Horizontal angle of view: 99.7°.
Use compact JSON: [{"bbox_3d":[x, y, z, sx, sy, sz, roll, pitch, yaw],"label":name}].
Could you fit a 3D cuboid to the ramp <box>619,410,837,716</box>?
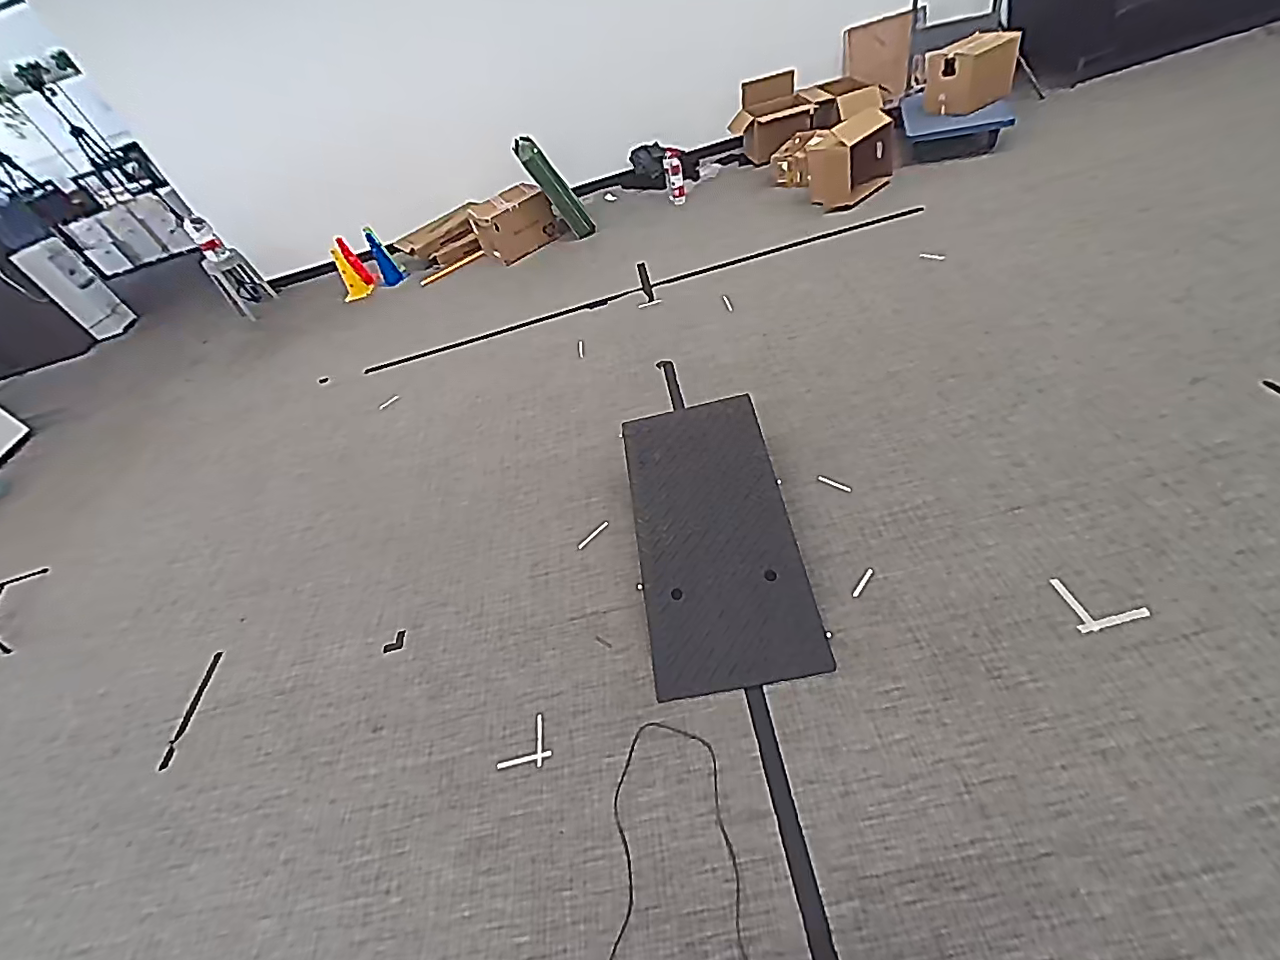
[{"bbox_3d":[0.228,0.195,1.752,0.509,0.206,0.991,-15,44,4],"label":"ramp"}]
